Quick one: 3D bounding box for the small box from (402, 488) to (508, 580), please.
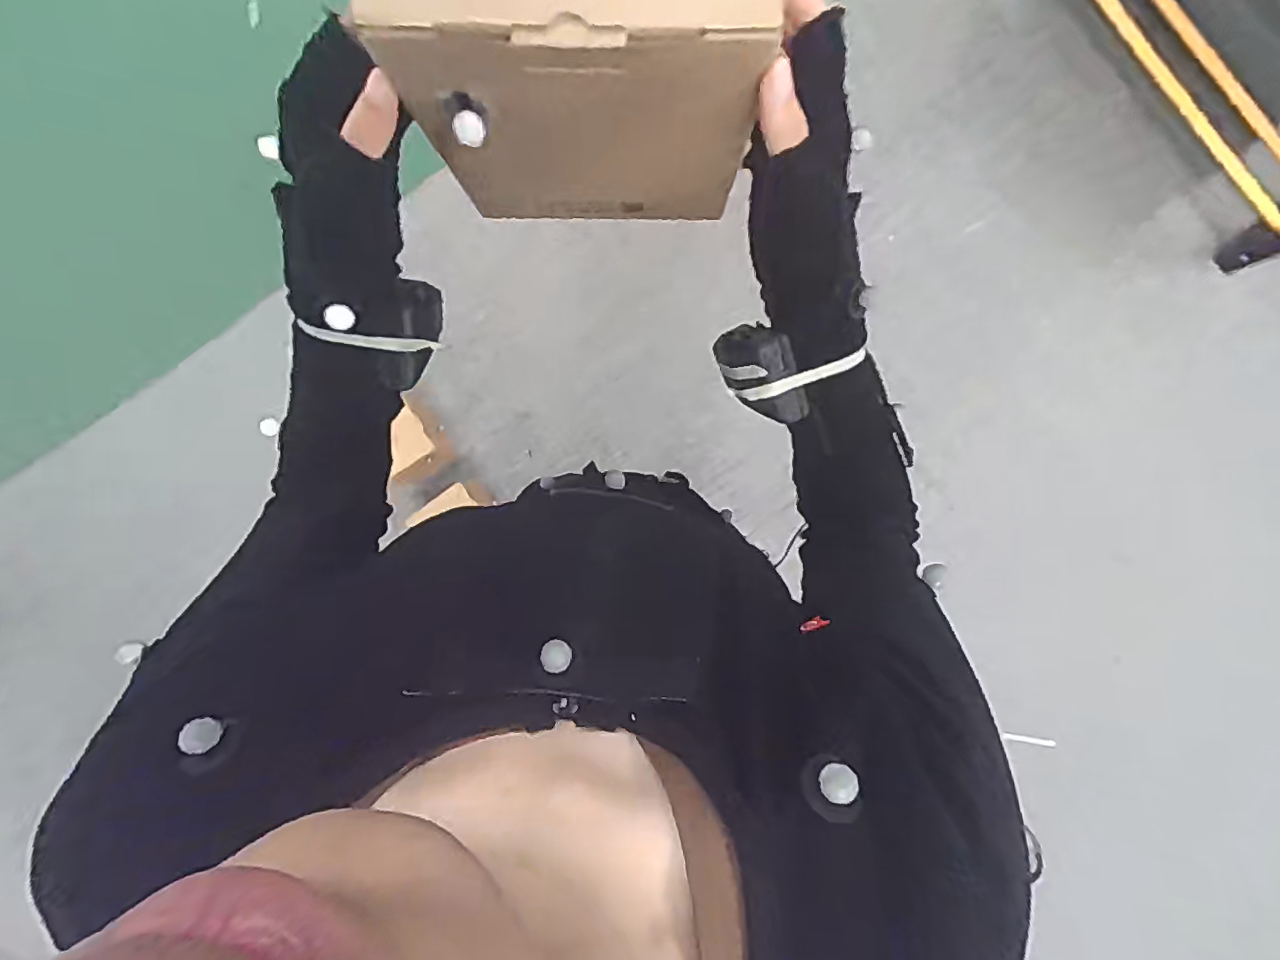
[{"bbox_3d":[-0.474,0.135,1.413,0.179,0.176,0.168,-36,89,0],"label":"small box"}]

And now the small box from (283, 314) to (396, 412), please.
[{"bbox_3d":[-0.784,-0.303,1.437,0.179,0.176,0.168,-37,88,1],"label":"small box"}]

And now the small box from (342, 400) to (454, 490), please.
[{"bbox_3d":[-0.629,-0.083,1.427,0.179,0.176,0.168,-34,88,0],"label":"small box"}]
